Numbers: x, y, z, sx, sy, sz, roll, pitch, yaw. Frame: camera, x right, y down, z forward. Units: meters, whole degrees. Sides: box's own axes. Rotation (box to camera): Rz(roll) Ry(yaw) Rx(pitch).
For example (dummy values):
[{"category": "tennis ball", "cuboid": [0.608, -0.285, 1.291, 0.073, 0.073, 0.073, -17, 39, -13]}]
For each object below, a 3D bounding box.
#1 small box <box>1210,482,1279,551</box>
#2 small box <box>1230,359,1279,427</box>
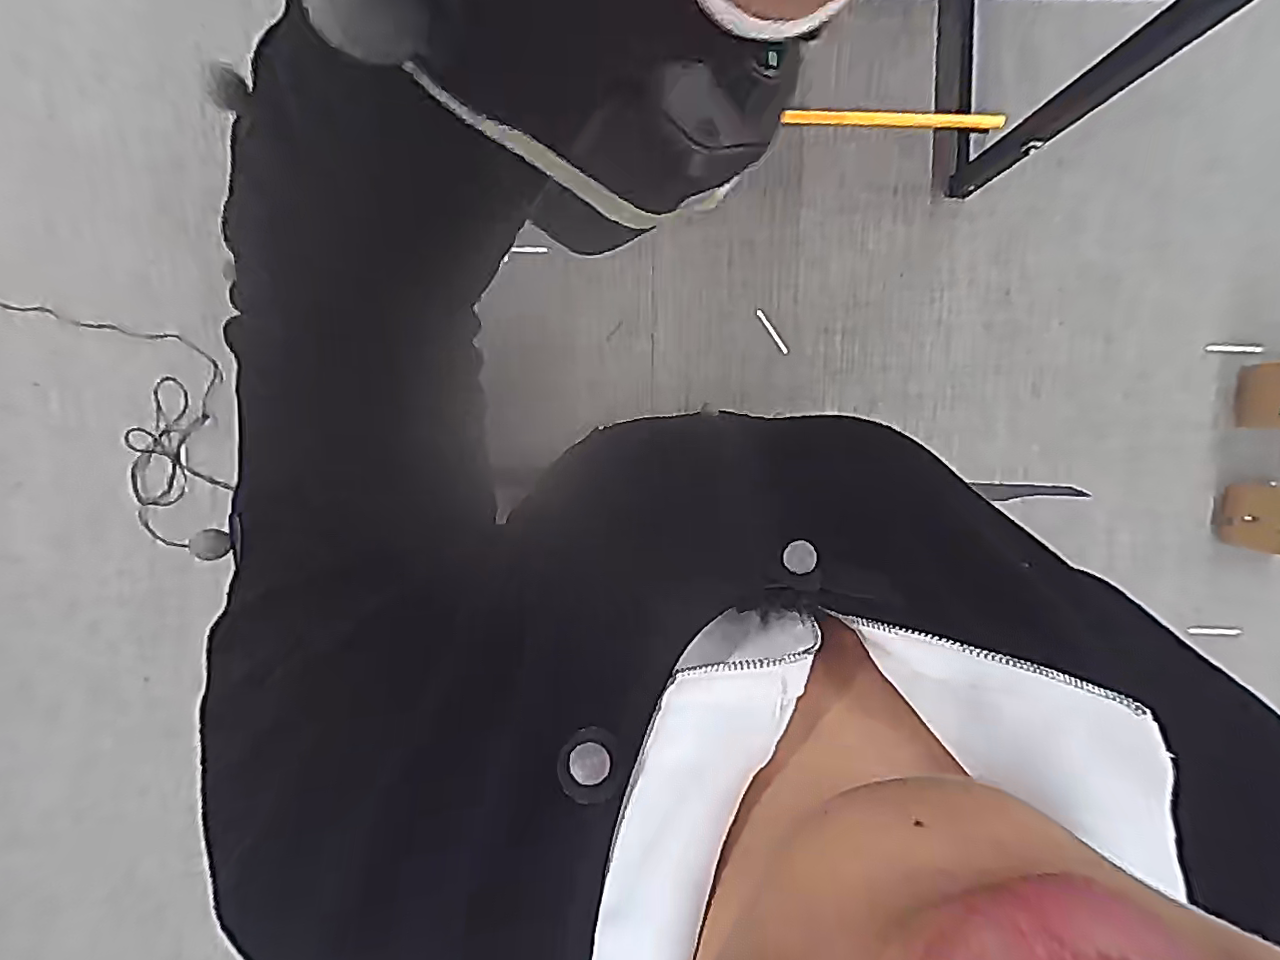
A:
[{"category": "small box", "cuboid": [1.715, 0.097, 1.461, 0.179, 0.176, 0.168, 2, 96, 0]}, {"category": "small box", "cuboid": [1.726, -0.228, 1.423, 0.168, 0.176, 0.179, -1, 96, -1]}]
